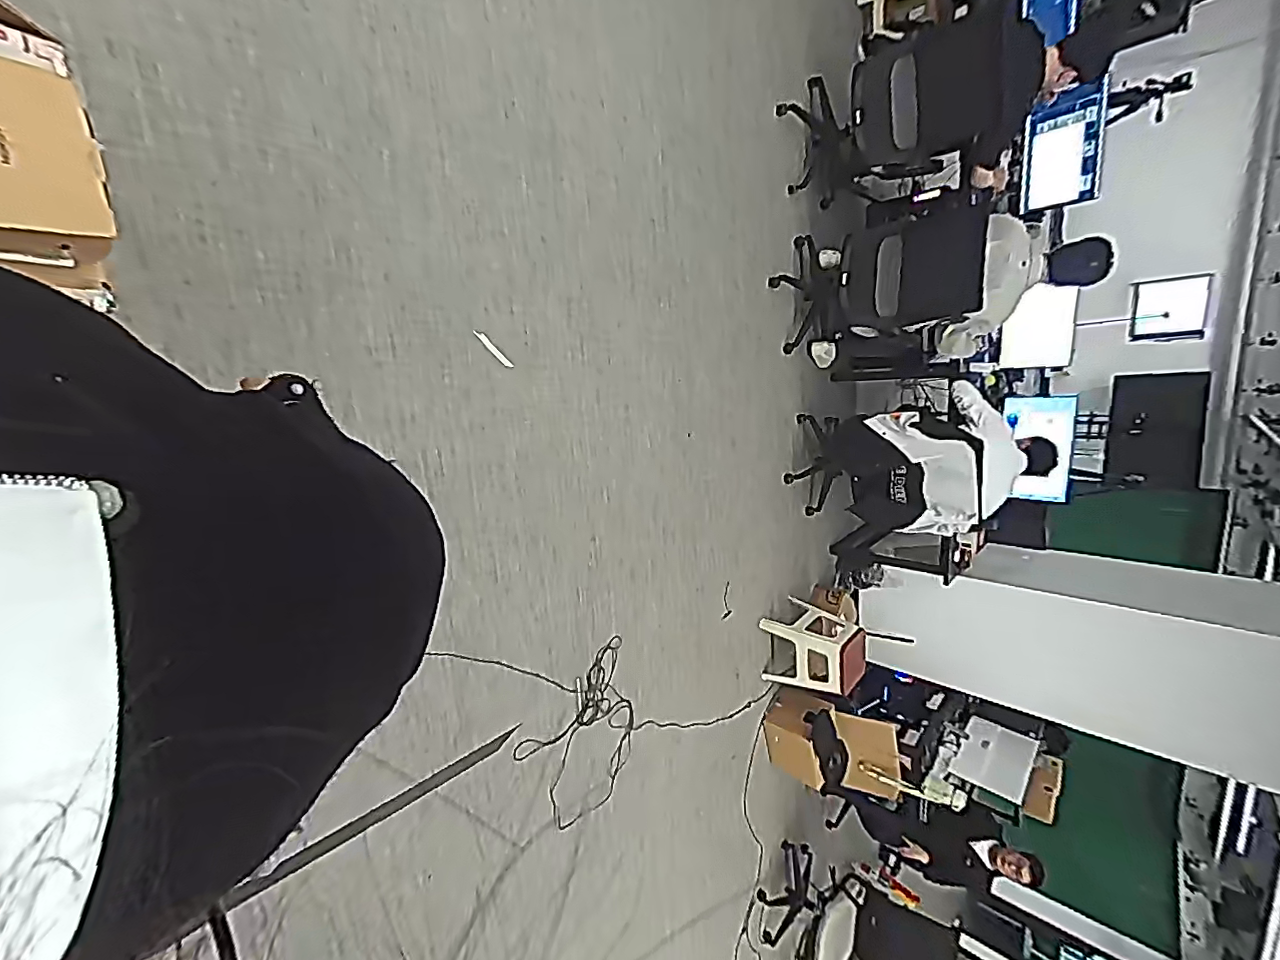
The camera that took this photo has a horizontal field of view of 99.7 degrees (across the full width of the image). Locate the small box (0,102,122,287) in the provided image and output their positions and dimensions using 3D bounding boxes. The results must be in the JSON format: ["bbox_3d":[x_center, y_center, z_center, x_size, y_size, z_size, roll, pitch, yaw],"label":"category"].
[{"bbox_3d":[-0.736,-0.317,0.612,0.179,0.176,0.168,-18,109,-46],"label":"small box"}]
